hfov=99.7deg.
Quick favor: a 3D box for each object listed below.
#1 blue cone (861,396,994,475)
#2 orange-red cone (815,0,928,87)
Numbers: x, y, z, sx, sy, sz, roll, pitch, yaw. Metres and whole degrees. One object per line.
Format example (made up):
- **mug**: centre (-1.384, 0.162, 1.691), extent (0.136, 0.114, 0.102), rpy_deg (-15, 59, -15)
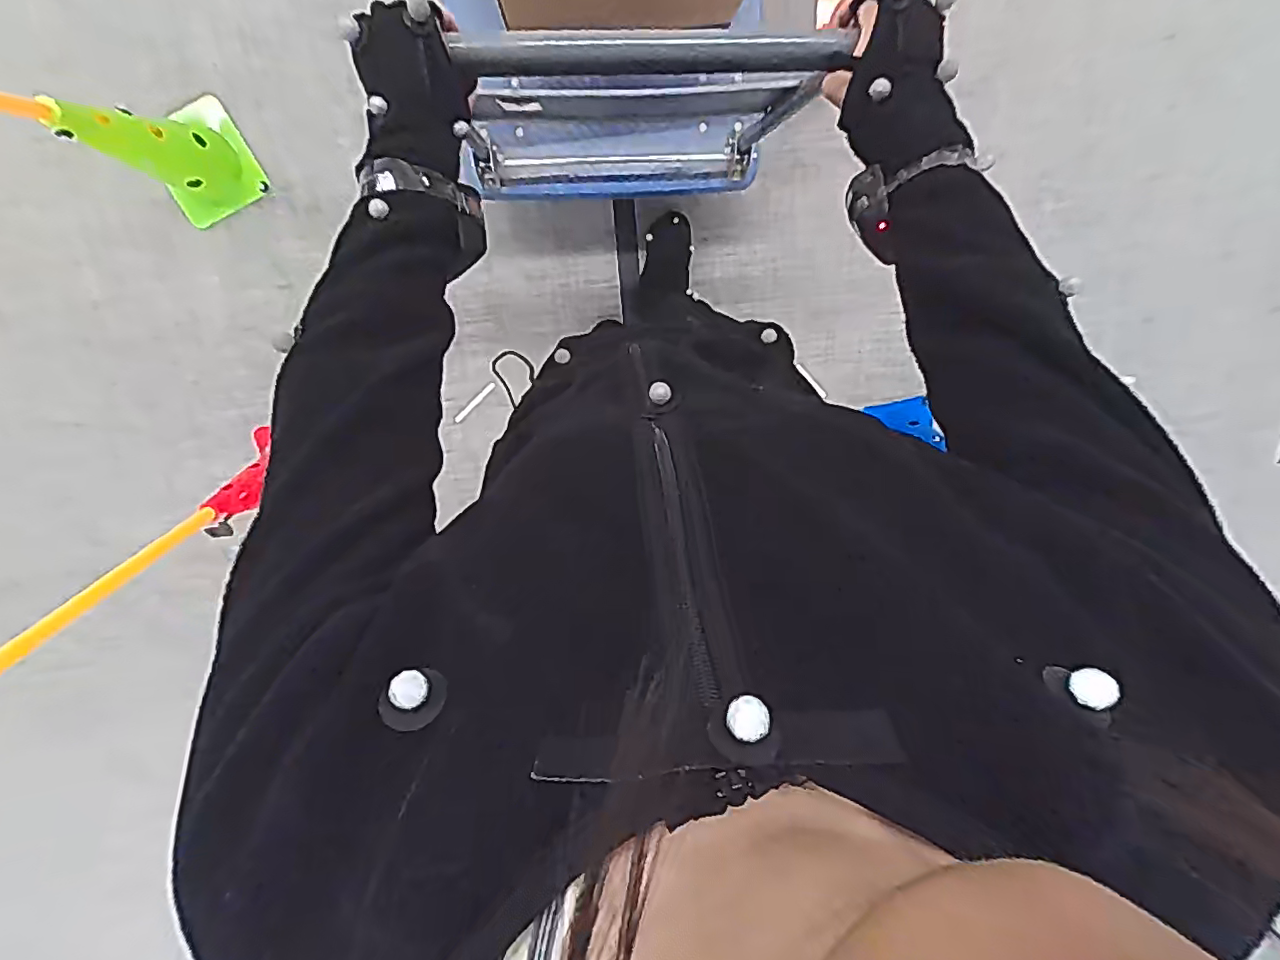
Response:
- **blue cone**: centre (0.704, -0.071, 1.296), extent (0.193, 0.380, 0.192), rpy_deg (-10, 107, -1)
- **orange-red cone**: centre (0.493, -0.904, 0.993), extent (0.199, 0.360, 0.198), rpy_deg (-1, 109, -5)
